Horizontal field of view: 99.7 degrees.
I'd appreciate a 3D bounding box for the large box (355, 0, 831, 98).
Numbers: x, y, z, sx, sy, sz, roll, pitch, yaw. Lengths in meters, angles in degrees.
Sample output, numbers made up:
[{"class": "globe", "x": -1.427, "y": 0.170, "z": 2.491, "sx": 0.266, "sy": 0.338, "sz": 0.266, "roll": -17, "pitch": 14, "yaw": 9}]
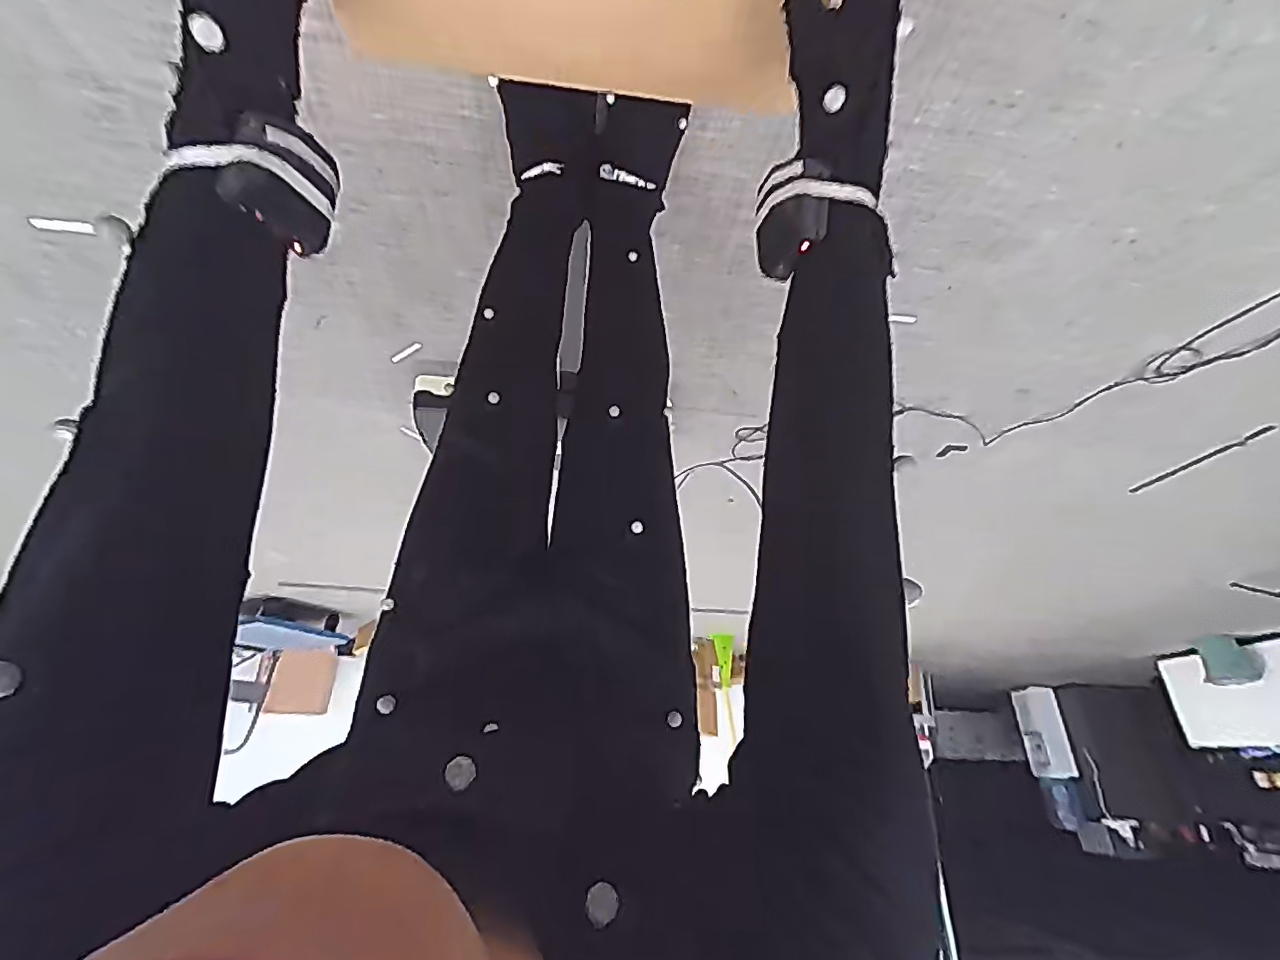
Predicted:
[{"class": "large box", "x": -0.031, "y": -0.574, "z": 0.437, "sx": 0.408, "sy": 0.320, "sz": 0.320, "roll": 3, "pitch": 152, "yaw": -5}]
